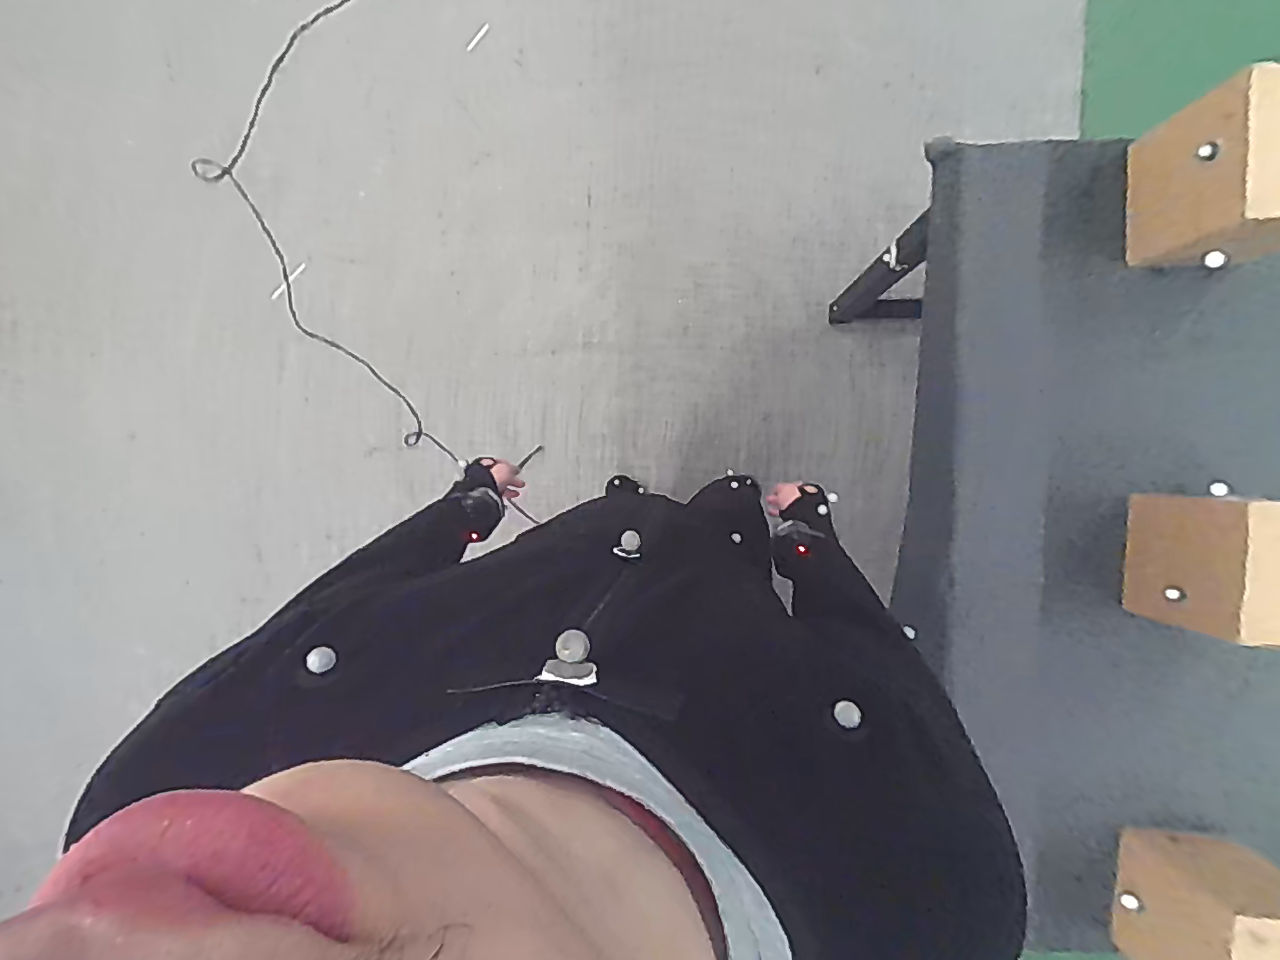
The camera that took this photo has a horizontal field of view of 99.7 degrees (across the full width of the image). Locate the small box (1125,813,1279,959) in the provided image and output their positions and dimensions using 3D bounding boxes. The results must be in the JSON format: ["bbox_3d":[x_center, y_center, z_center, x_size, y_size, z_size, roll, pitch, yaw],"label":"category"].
[{"bbox_3d":[0.815,0.596,0.735,0.168,0.176,0.179,3,91,1],"label":"small box"}]

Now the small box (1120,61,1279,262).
[{"bbox_3d":[0.784,-0.407,0.712,0.168,0.176,0.179,-2,93,1],"label":"small box"}]

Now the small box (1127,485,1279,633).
[{"bbox_3d":[0.806,0.096,0.727,0.168,0.176,0.179,0,90,-1],"label":"small box"}]
